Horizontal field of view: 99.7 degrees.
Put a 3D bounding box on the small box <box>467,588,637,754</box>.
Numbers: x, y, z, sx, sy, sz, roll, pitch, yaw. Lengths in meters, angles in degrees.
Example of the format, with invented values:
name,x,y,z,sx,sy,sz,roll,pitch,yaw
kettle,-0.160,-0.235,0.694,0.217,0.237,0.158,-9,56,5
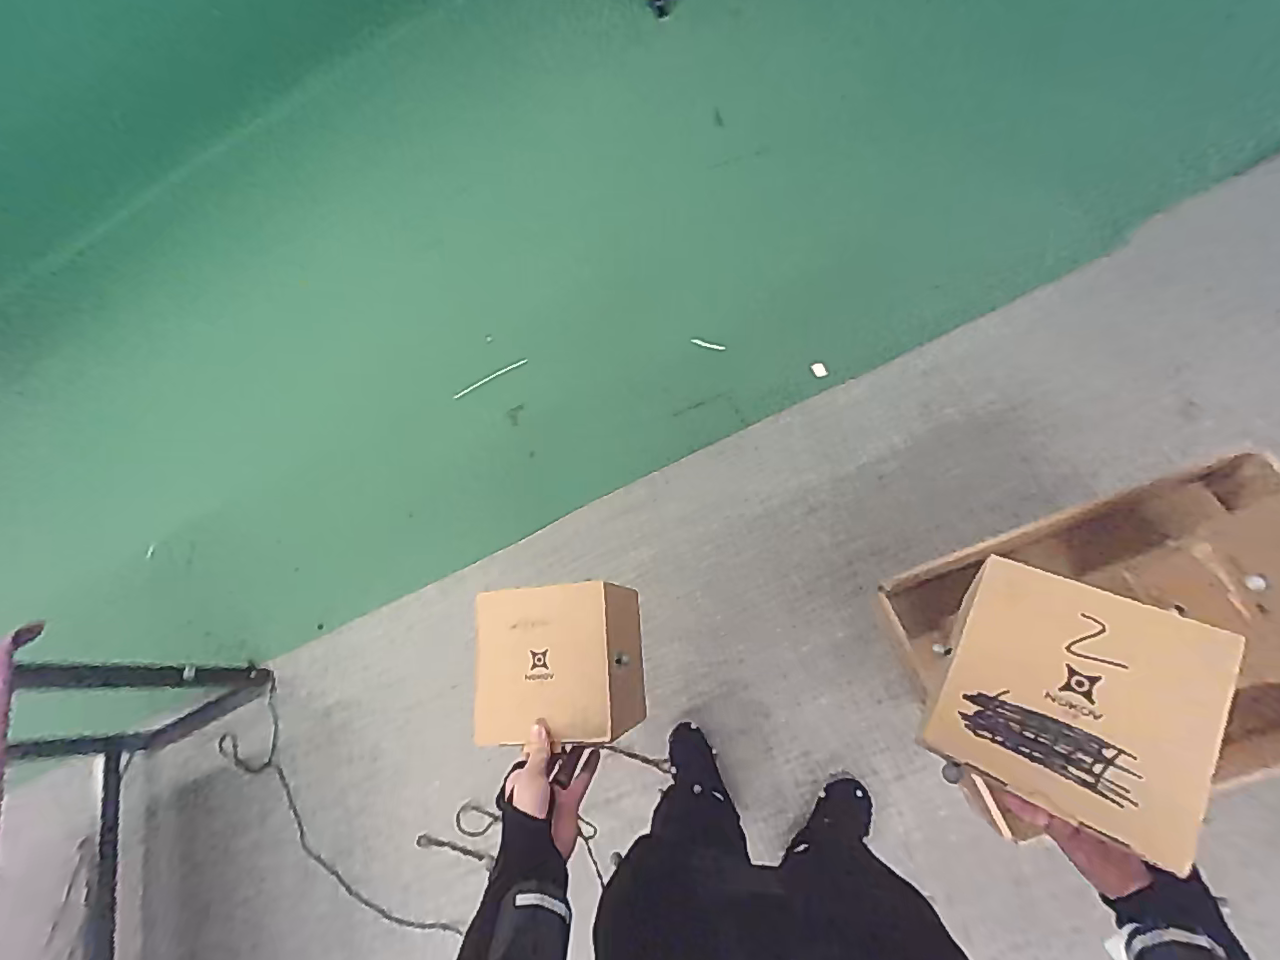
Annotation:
name,x,y,z,sx,sy,sz,roll,pitch,yaw
small box,-0.104,0.238,0.694,0.168,0.176,0.179,-8,73,11

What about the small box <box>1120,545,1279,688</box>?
name,x,y,z,sx,sy,sz,roll,pitch,yaw
small box,0.789,0.153,0.692,0.179,0.176,0.168,-25,65,8

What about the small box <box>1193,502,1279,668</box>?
name,x,y,z,sx,sy,sz,roll,pitch,yaw
small box,0.744,0.092,0.546,0.179,0.176,0.168,-16,67,13

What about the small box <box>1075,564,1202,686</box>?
name,x,y,z,sx,sy,sz,roll,pitch,yaw
small box,0.838,0.206,0.836,0.179,0.176,0.168,-24,64,8
